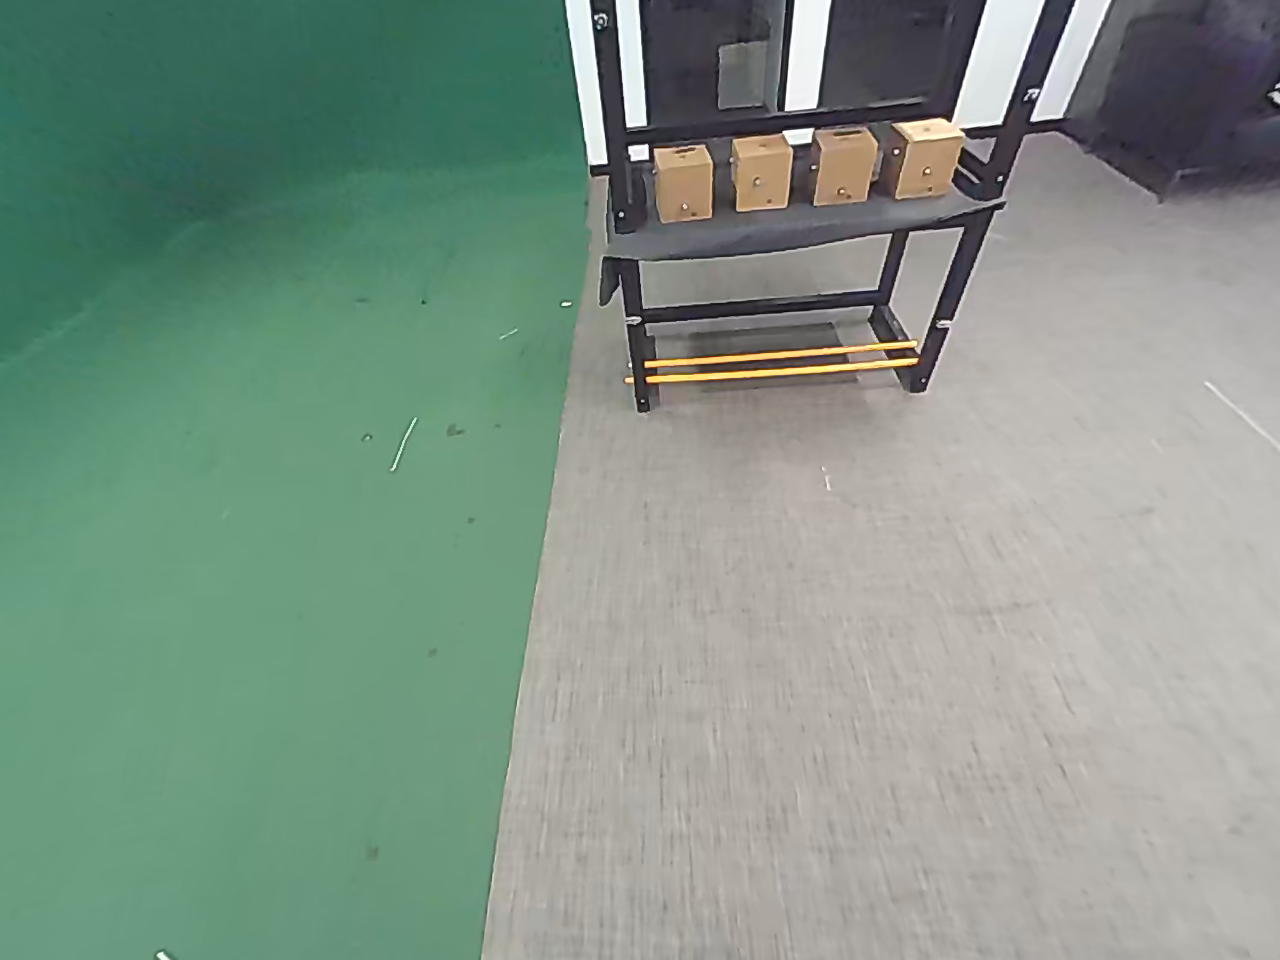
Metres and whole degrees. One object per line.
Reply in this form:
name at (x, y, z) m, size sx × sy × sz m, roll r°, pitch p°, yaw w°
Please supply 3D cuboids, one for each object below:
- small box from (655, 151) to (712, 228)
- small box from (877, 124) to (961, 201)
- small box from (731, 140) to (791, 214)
small box at (0.137, -0.940, 1.752) m, size 0.168 × 0.176 × 0.179 m, roll -7°, pitch 48°, yaw 1°
small box at (0.878, -1.004, 1.719) m, size 0.168 × 0.176 × 0.179 m, roll -4°, pitch 46°, yaw 3°
small box at (0.388, -0.982, 1.763) m, size 0.168 × 0.176 × 0.179 m, roll -3°, pitch 47°, yaw 3°
